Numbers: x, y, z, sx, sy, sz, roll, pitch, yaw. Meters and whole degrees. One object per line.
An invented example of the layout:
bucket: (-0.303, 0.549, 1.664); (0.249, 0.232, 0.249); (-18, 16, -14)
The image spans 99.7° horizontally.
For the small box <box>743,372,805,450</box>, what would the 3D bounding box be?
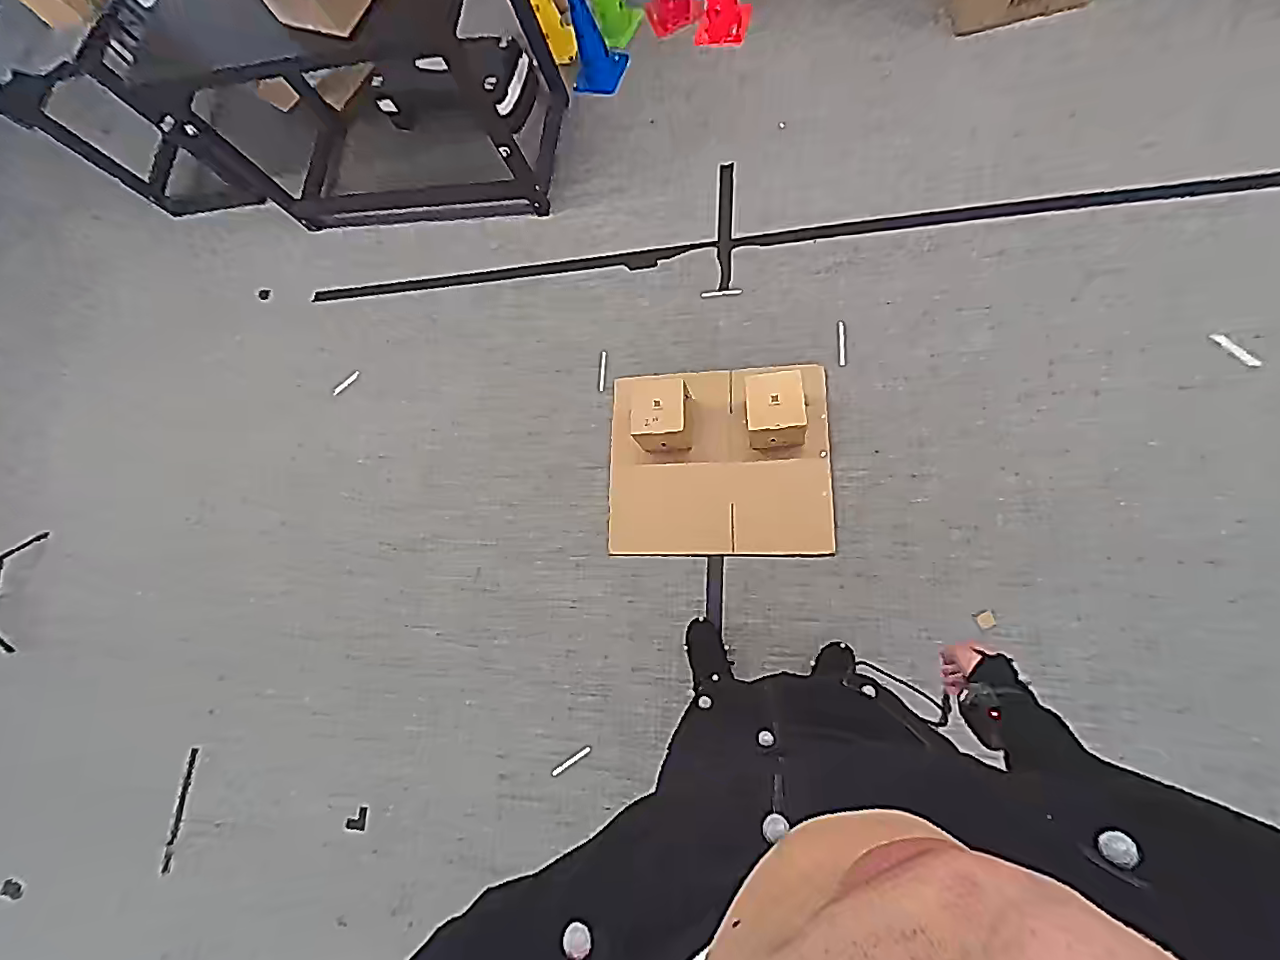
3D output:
small box: (0.402, -0.204, 1.640); (0.168, 0.176, 0.179); (-6, 75, 13)

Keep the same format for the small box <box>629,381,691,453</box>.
small box: (0.066, -0.197, 1.714); (0.168, 0.176, 0.179); (-3, 76, 14)
